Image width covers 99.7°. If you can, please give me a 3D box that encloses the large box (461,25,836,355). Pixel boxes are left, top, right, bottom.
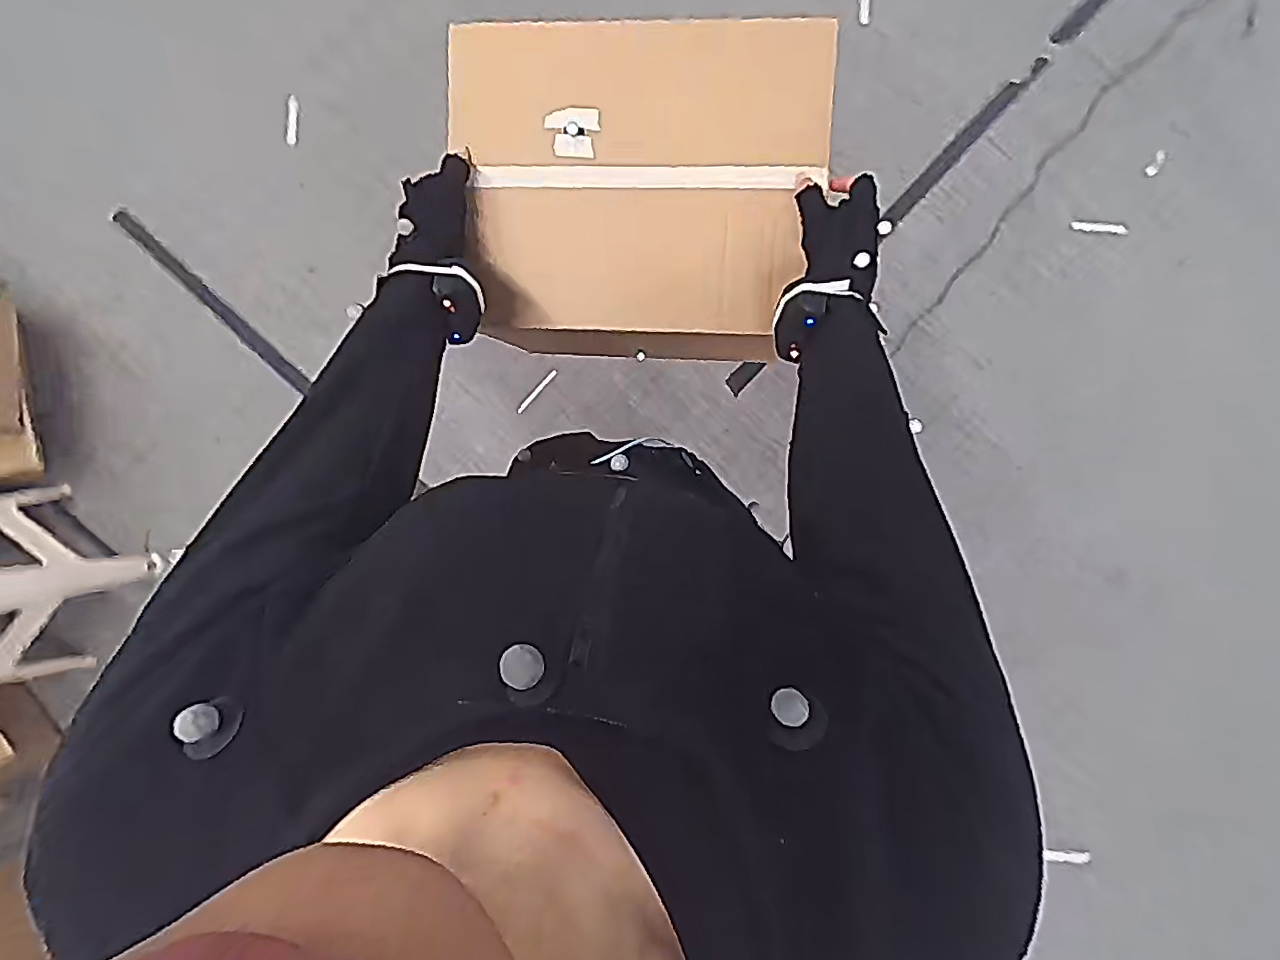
[{"bbox_3d":[0.014,-0.343,0.734,0.408,0.320,0.320,4,96,5],"label":"large box"}]
